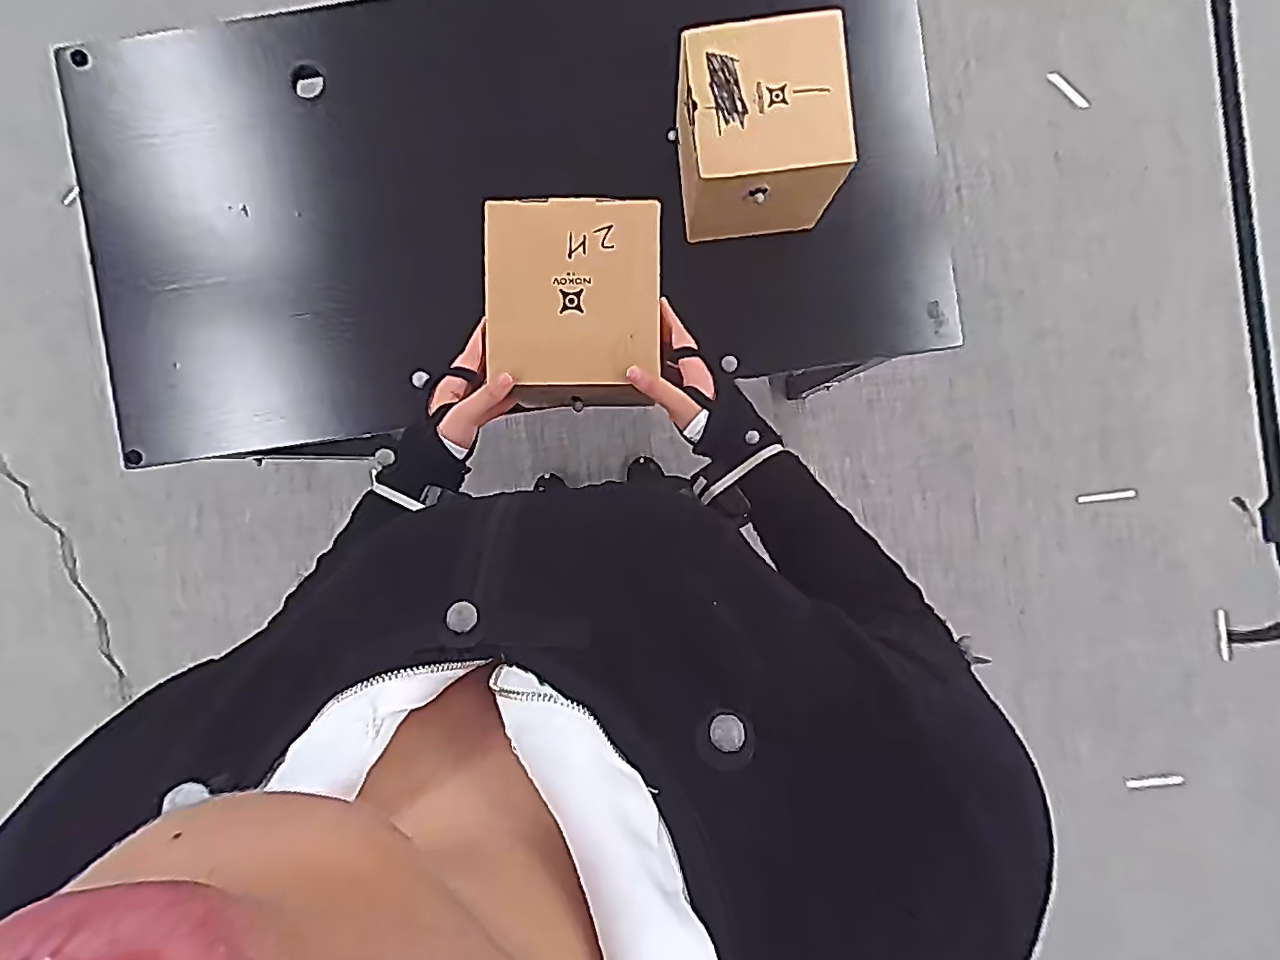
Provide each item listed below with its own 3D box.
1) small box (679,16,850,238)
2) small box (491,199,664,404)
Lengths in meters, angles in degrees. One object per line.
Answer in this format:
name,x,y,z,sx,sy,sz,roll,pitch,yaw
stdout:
small box,0.143,-0.425,0.681,0.179,0.176,0.168,-6,91,1
small box,-0.060,-0.181,0.596,0.168,0.176,0.179,1,89,-1
